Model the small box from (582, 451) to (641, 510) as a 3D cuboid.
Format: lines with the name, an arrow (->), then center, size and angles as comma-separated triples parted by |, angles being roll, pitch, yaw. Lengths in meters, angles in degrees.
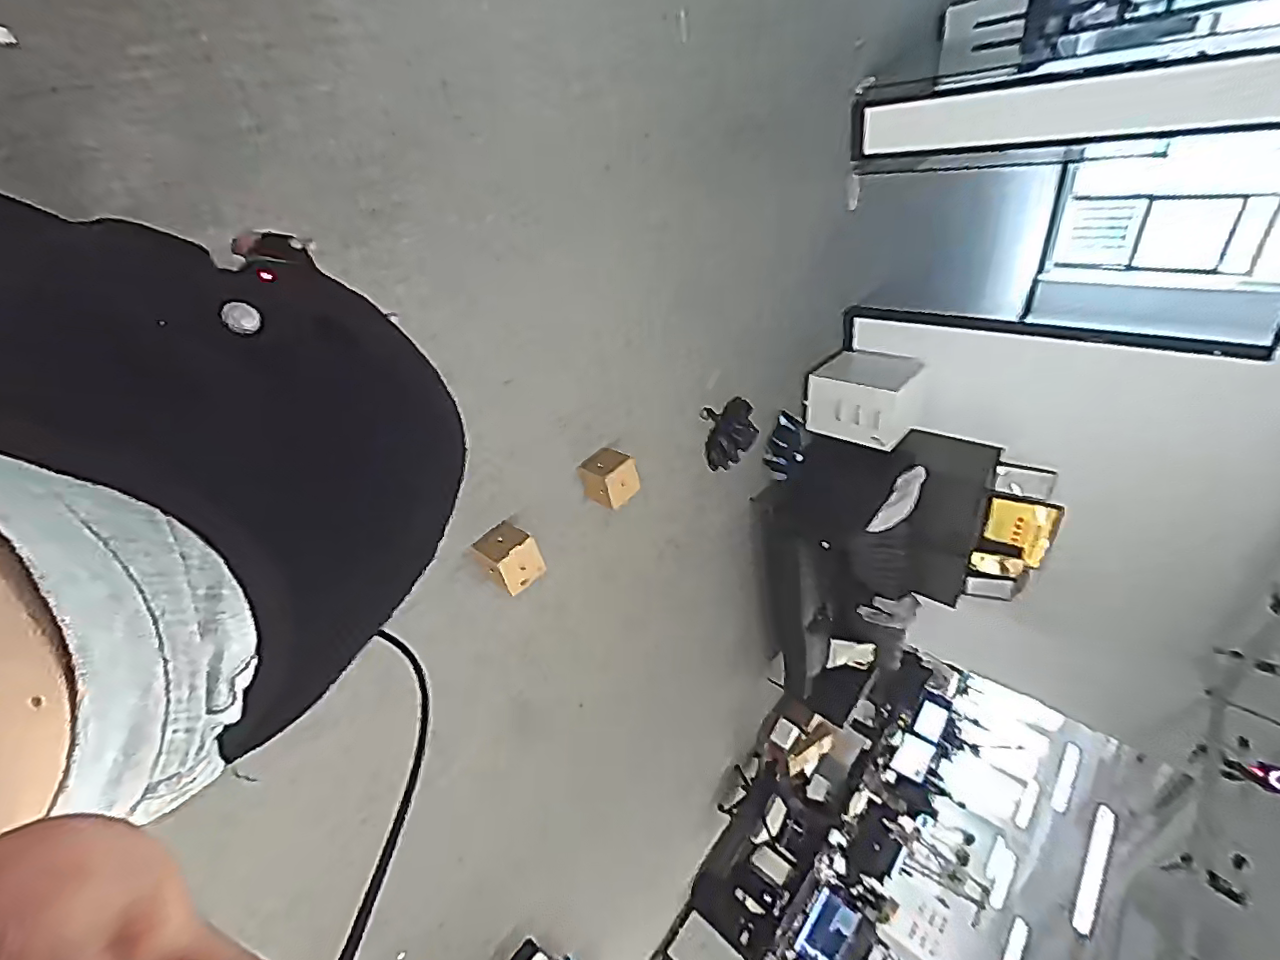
small box -> -0.122, -0.008, 2.287 | 0.168, 0.176, 0.179 | -41, 135, -31

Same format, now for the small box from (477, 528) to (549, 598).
small box -> -0.469, 0.296, 1.993 | 0.168, 0.176, 0.179 | -41, 133, -33
